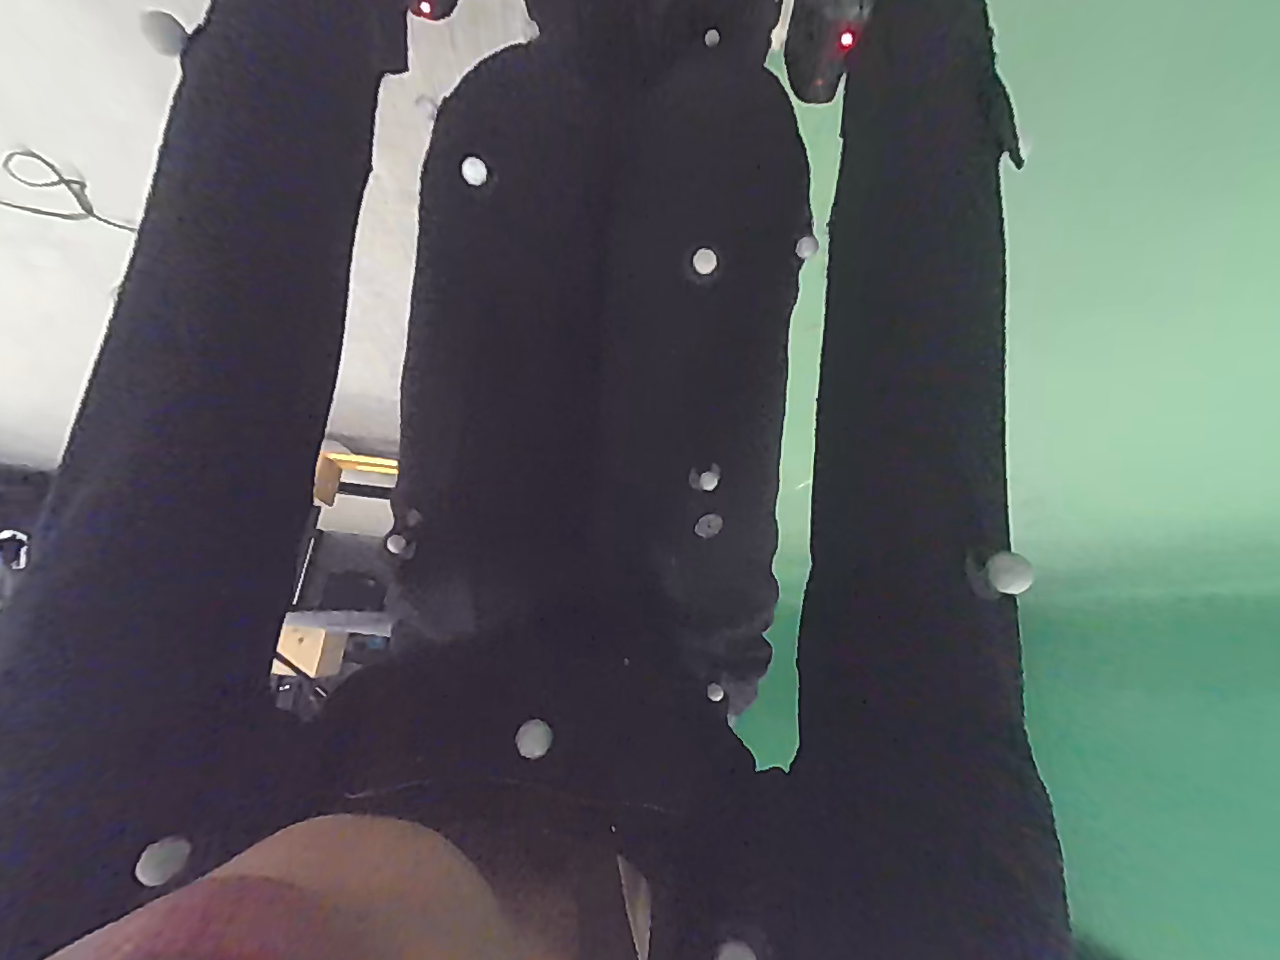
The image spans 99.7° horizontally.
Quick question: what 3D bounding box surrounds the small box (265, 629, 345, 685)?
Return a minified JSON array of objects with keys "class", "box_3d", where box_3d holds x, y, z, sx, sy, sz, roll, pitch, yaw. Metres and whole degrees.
[{"class":"small box","box_3d":[-1.191,0.630,1.937,0.168,0.176,0.179,6,163,-2]}]
